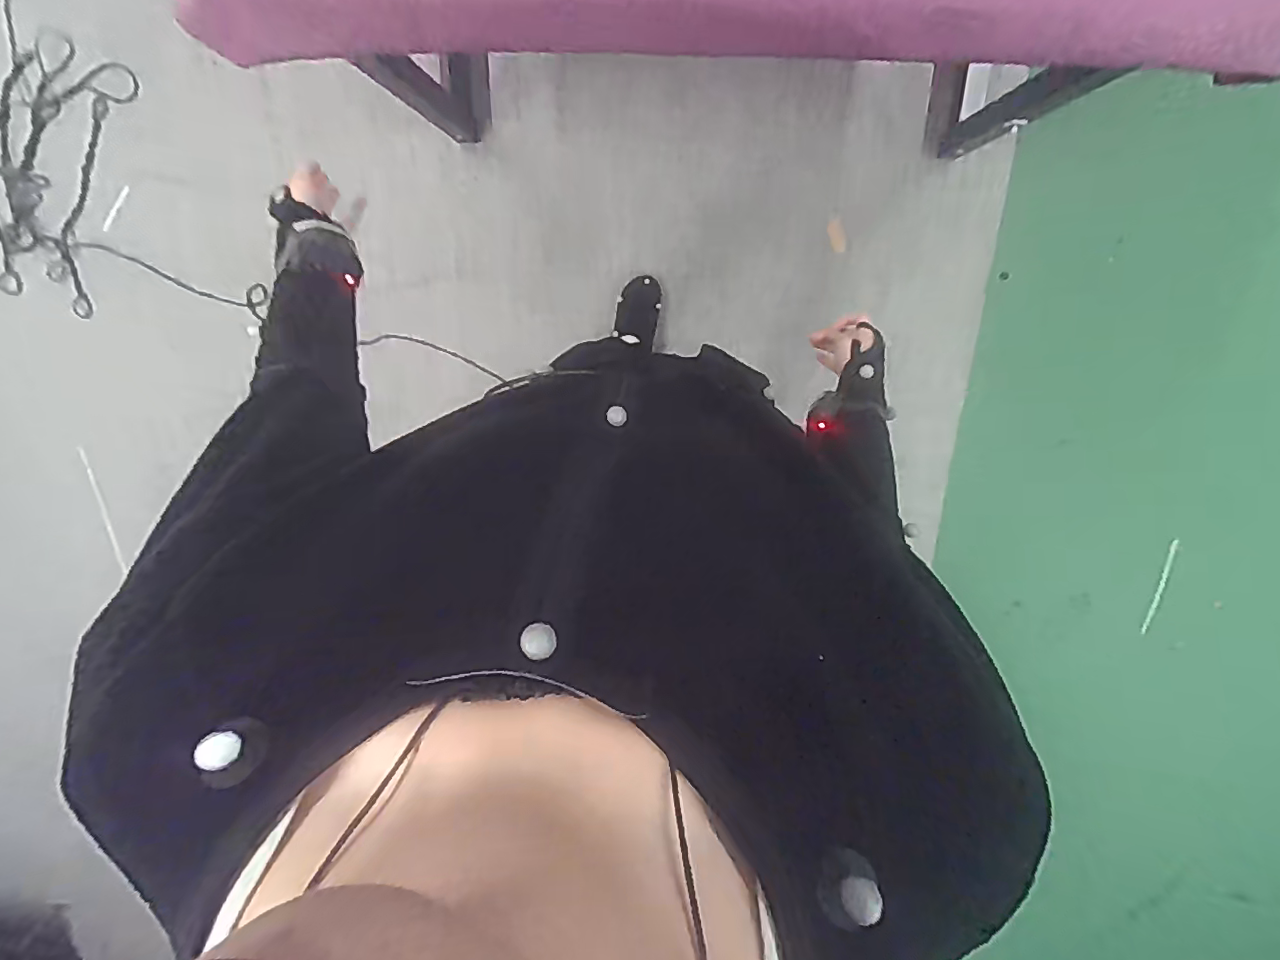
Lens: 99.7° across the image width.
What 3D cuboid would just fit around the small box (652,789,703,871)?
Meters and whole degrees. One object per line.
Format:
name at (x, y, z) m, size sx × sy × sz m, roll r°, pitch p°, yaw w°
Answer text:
small box at (0.123, 1.171, 1.817) m, size 0.168 × 0.176 × 0.179 m, roll -1°, pitch 109°, yaw 3°
